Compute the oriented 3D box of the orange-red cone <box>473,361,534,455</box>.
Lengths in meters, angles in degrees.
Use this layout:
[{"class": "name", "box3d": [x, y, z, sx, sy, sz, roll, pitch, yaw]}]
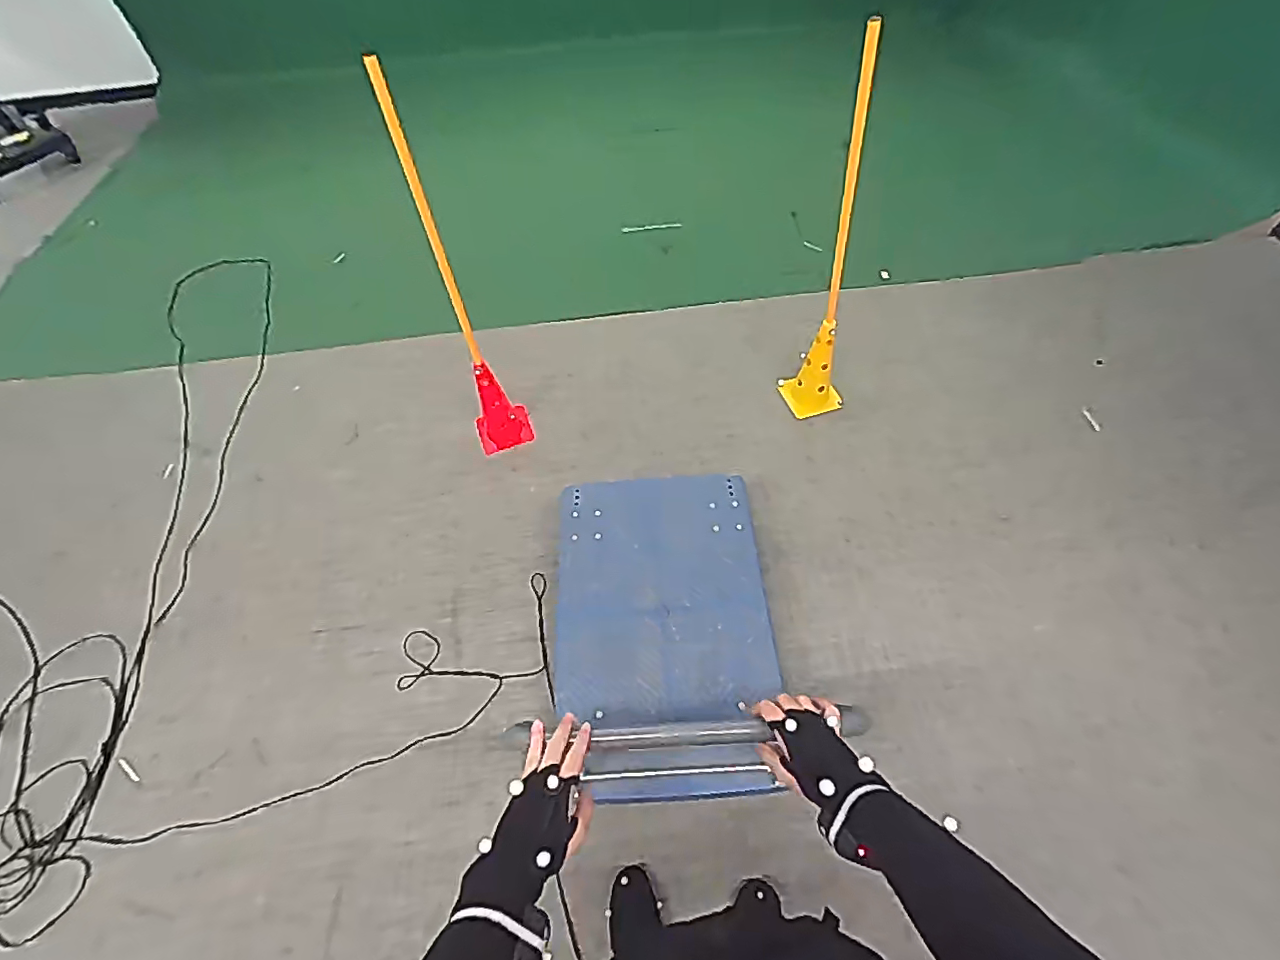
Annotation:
[{"class": "orange-red cone", "box3d": [-0.529, -0.283, 1.941, 0.199, 0.360, 0.198, -20, 56, -8]}]
